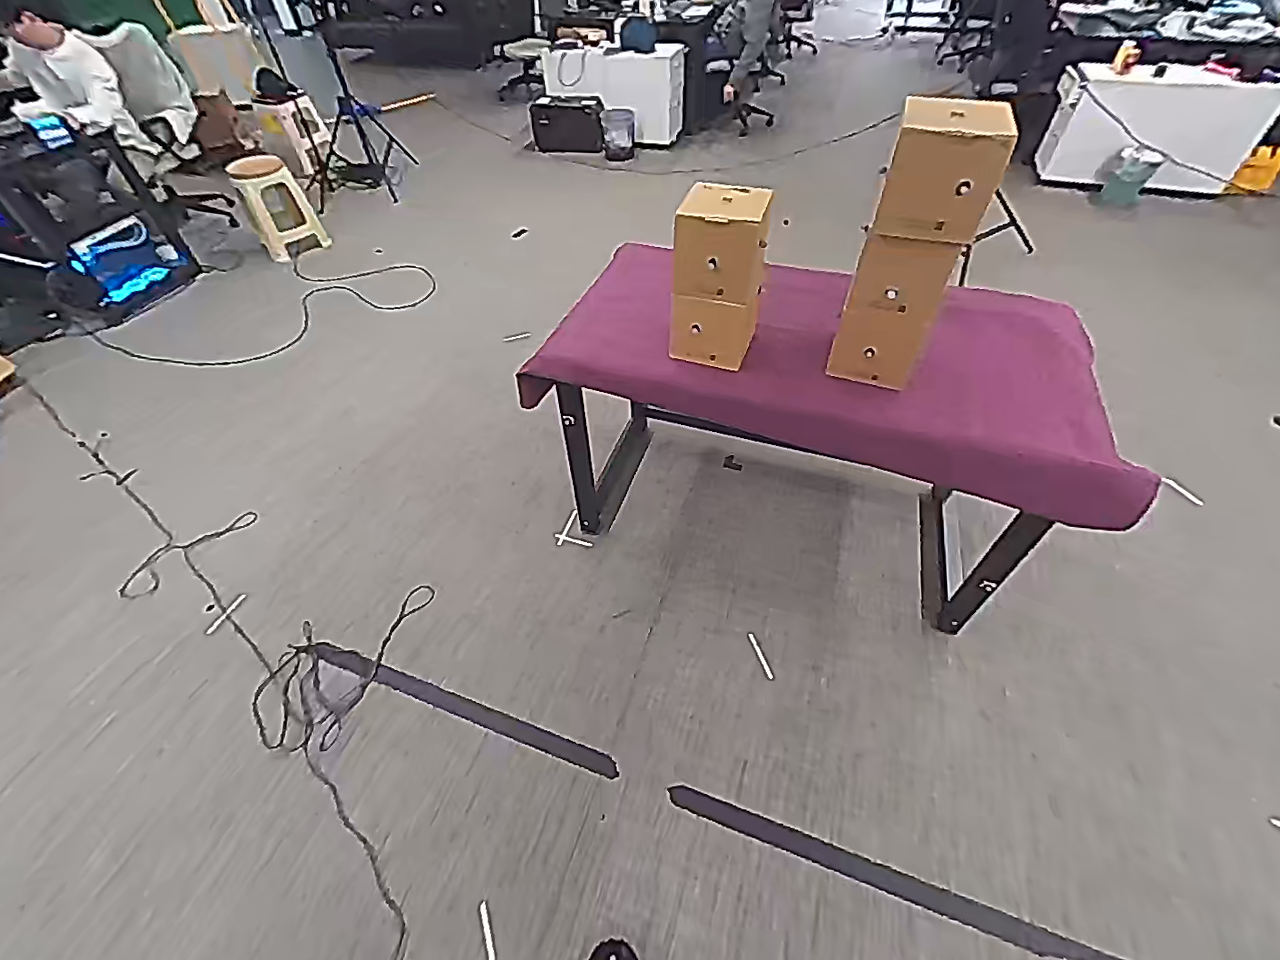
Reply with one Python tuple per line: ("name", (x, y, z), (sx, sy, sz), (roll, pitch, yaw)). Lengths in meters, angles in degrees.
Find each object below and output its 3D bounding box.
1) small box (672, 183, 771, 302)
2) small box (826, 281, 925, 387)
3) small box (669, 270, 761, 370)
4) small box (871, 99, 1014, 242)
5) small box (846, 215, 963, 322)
("small box", (0.168, -0.492, 1.127), (0.168, 0.176, 0.179), (13, 50, 12))
("small box", (0.519, -0.330, 1.190), (0.168, 0.176, 0.179), (17, 51, 15))
("small box", (0.170, -0.378, 1.244), (0.168, 0.176, 0.179), (15, 49, 14))
("small box", (0.509, -0.532, 0.933), (0.168, 0.176, 0.179), (14, 50, 13))
("small box", (0.519, -0.441, 1.069), (0.168, 0.176, 0.179), (16, 51, 16))
